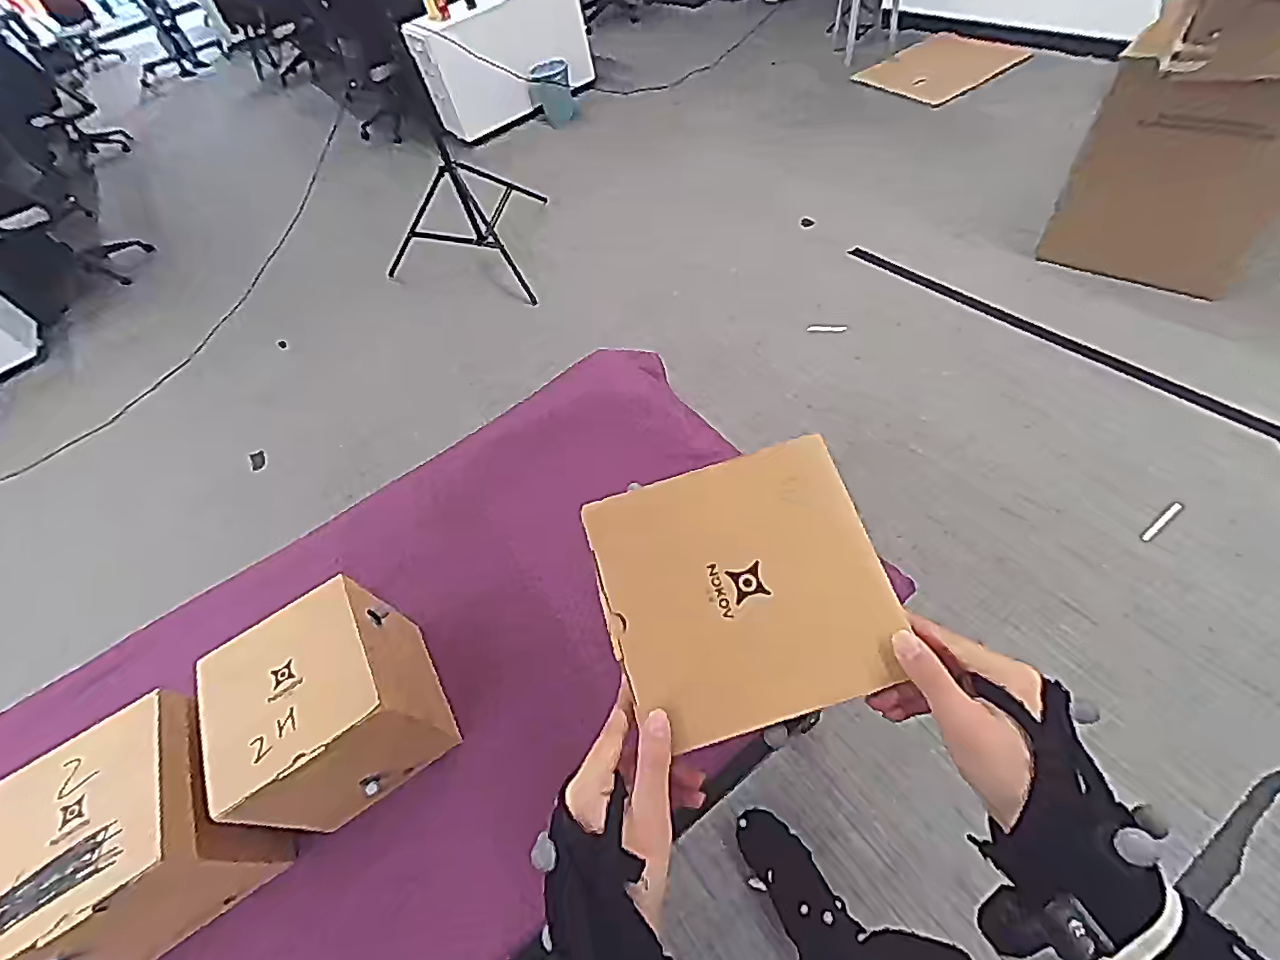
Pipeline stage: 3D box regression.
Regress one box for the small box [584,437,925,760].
[{"bbox_3d":[0.074,0.093,0.418,0.179,0.176,0.168,-18,69,1],"label":"small box"}]
